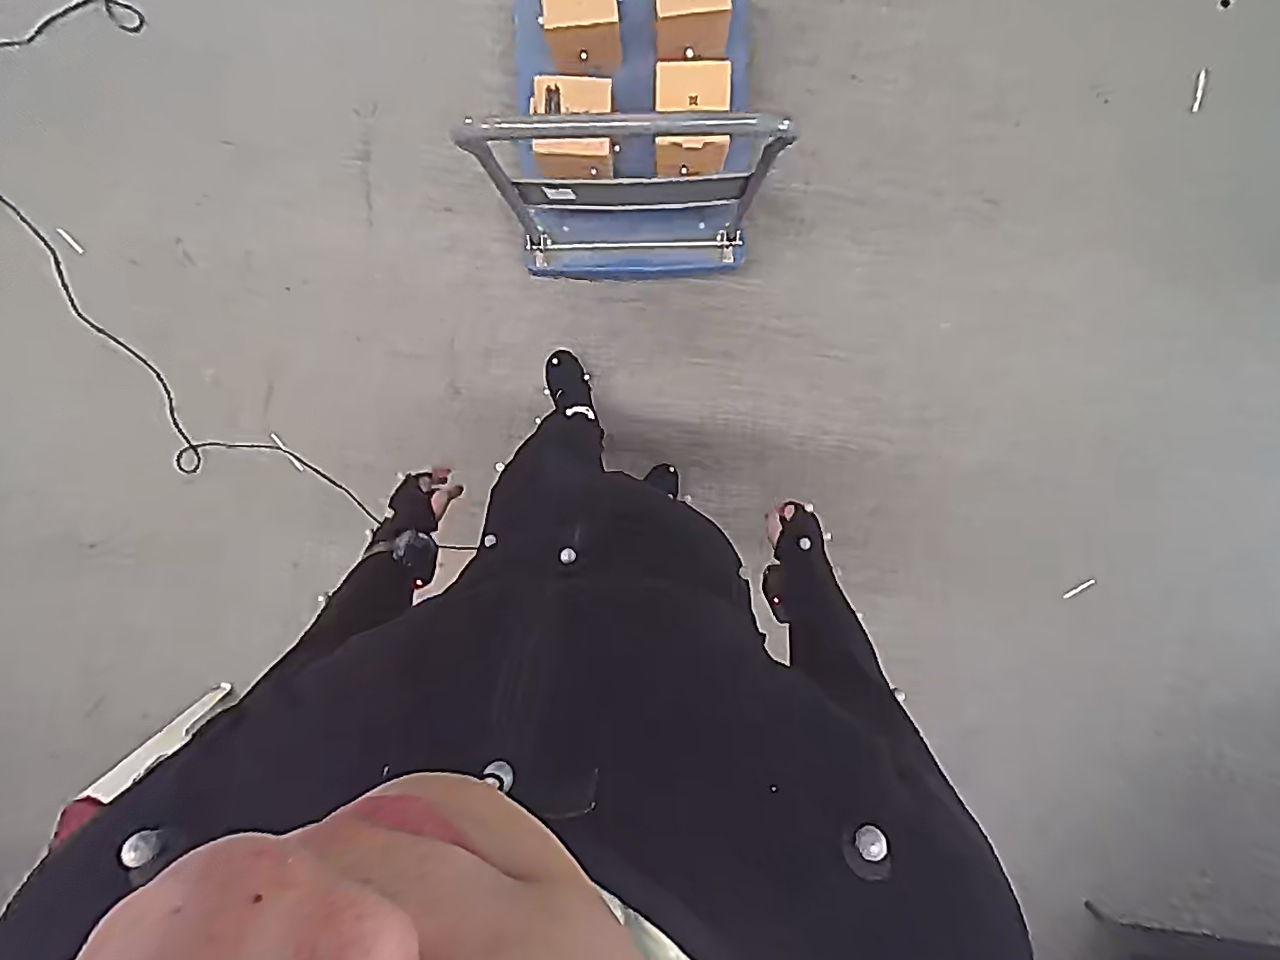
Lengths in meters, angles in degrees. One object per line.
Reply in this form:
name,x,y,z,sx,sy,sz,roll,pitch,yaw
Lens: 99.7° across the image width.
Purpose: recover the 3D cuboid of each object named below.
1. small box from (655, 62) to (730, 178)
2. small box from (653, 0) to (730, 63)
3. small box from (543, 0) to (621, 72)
small box,0.120,-0.854,1.294,0.168,0.176,0.179,0,96,1
small box,0.115,-1.124,1.268,0.168,0.176,0.179,-4,96,3
small box,-0.135,-1.103,1.278,0.168,0.176,0.179,-4,95,1
